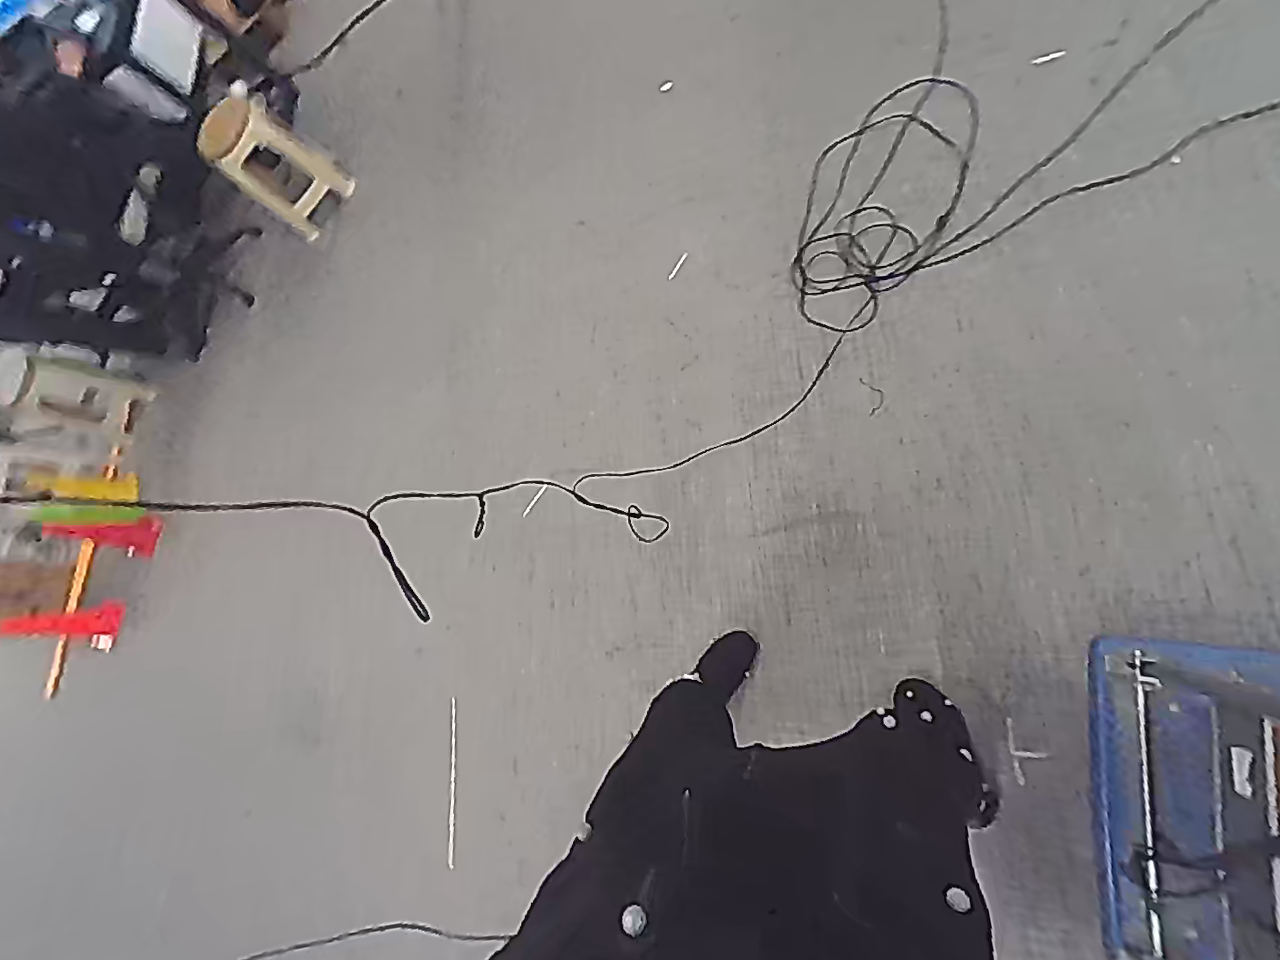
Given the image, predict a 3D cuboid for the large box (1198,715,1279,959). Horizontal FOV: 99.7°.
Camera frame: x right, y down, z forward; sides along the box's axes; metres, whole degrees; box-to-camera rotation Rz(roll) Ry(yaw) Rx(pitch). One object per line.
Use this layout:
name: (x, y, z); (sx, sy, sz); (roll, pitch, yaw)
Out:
large box: (1.069, 0.523, 0.696); (0.408, 0.320, 0.320); (3, 80, 24)
